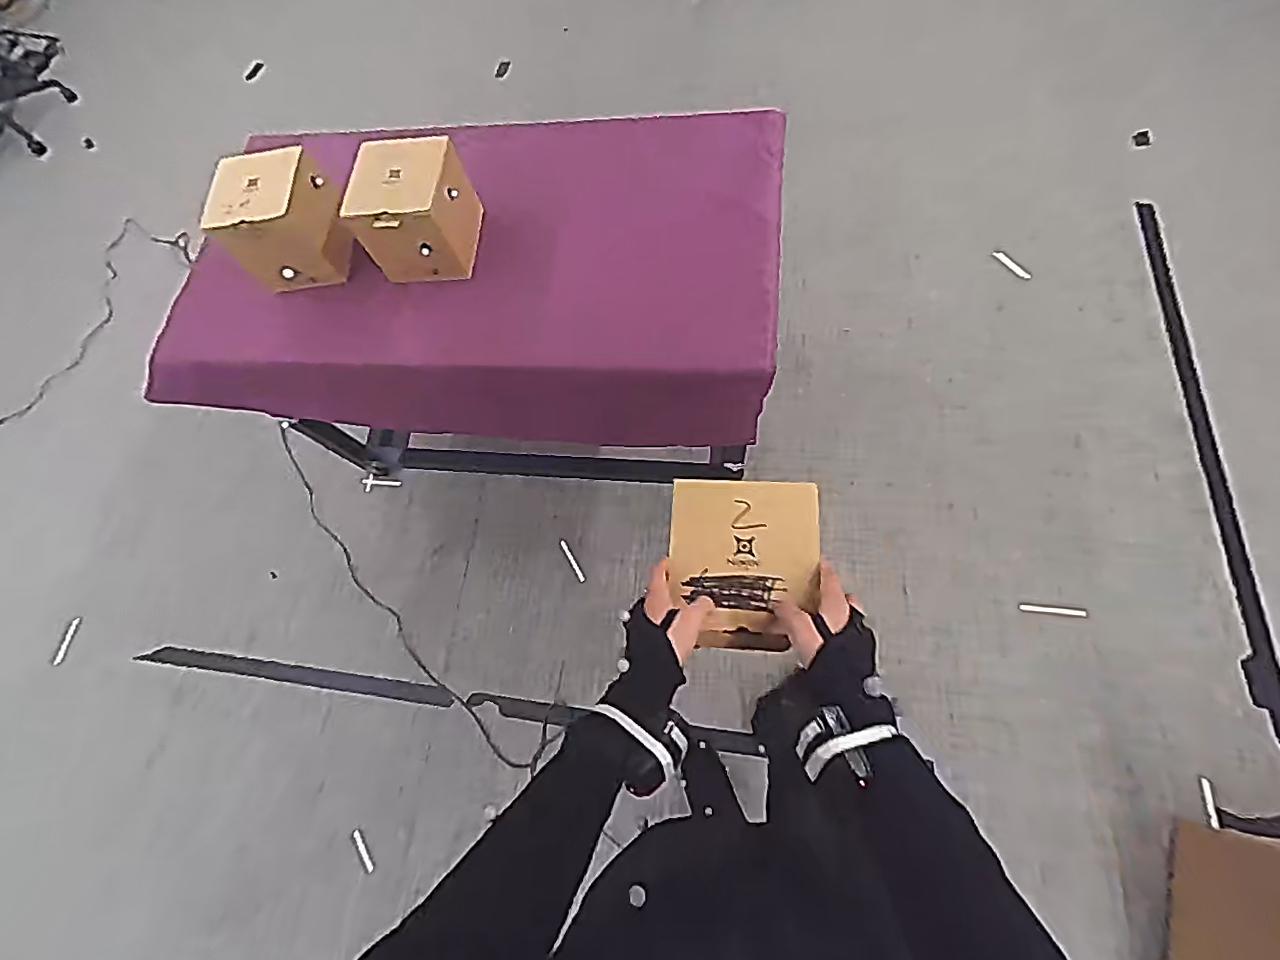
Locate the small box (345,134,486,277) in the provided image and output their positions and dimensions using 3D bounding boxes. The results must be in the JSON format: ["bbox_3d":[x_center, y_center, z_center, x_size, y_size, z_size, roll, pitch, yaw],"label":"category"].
[{"bbox_3d":[-0.401,-0.496,1.000,0.168,0.176,0.179,1,70,8],"label":"small box"}]

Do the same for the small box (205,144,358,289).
[{"bbox_3d":[-0.669,-0.497,1.035,0.168,0.176,0.179,-5,70,6],"label":"small box"}]
